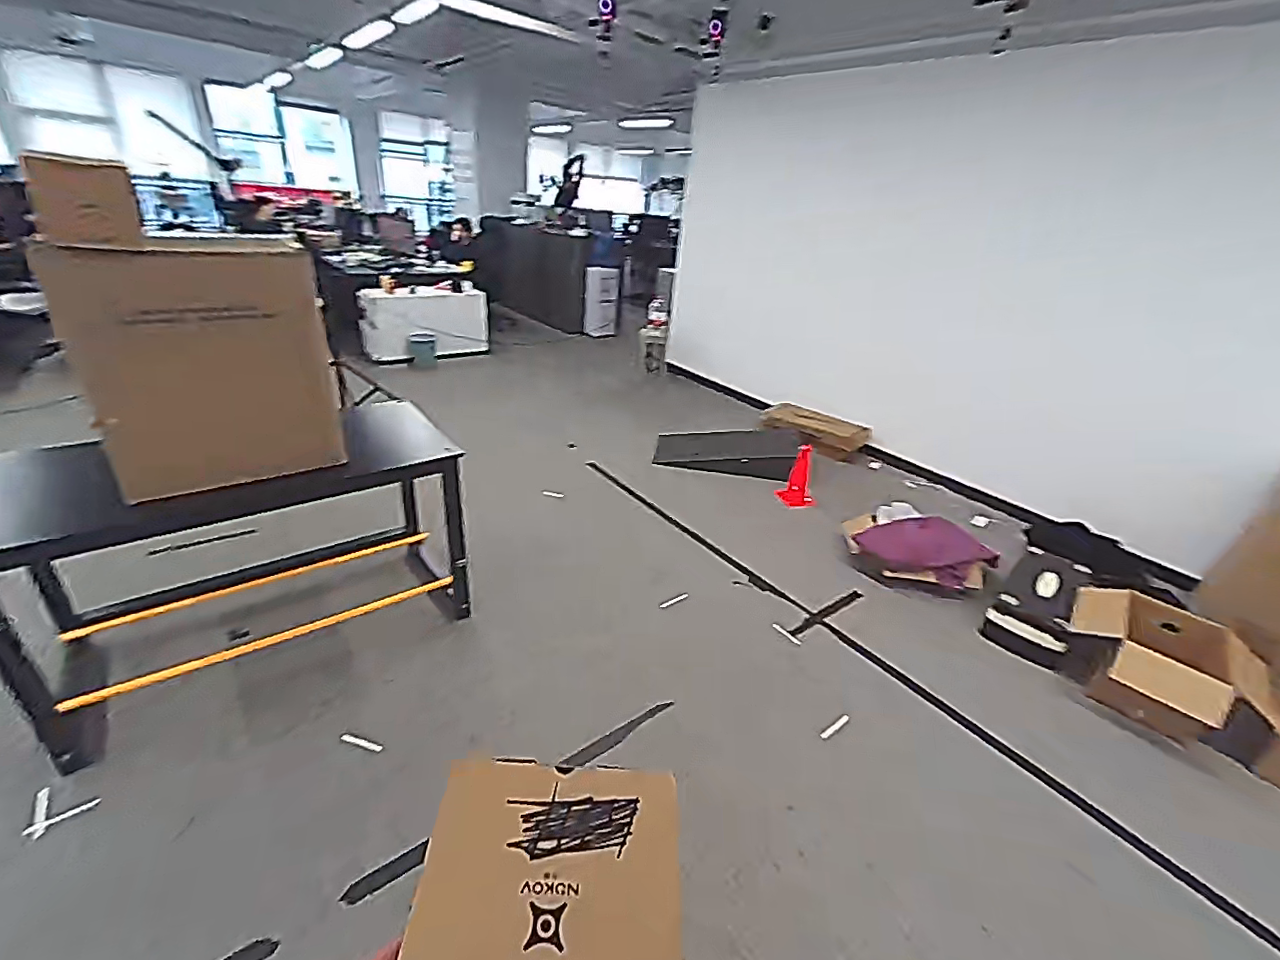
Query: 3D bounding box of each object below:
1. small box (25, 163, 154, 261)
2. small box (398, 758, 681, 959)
[{"bbox_3d":[-1.204,-0.586,1.192,0.168,0.176,0.179,-15,36,-40],"label":"small box"},{"bbox_3d":[-0.067,0.325,0.379,0.168,0.176,0.179,5,37,-5],"label":"small box"}]
